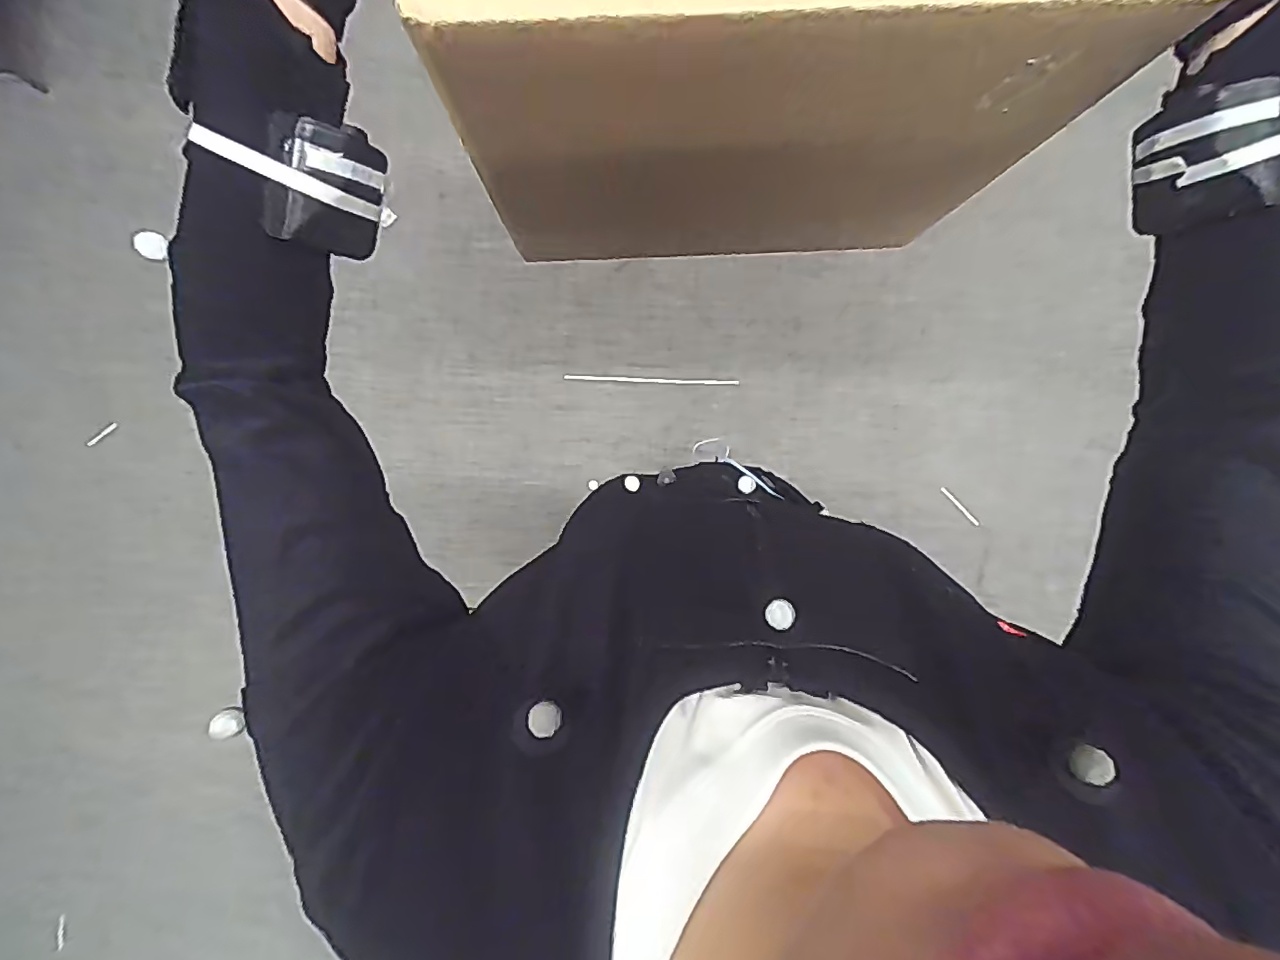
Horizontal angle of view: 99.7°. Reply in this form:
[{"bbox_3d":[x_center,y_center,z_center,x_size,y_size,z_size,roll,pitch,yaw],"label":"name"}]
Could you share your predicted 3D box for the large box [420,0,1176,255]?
[{"bbox_3d":[0.071,-0.390,0.410,0.408,0.320,0.320,-4,92,-3],"label":"large box"}]
